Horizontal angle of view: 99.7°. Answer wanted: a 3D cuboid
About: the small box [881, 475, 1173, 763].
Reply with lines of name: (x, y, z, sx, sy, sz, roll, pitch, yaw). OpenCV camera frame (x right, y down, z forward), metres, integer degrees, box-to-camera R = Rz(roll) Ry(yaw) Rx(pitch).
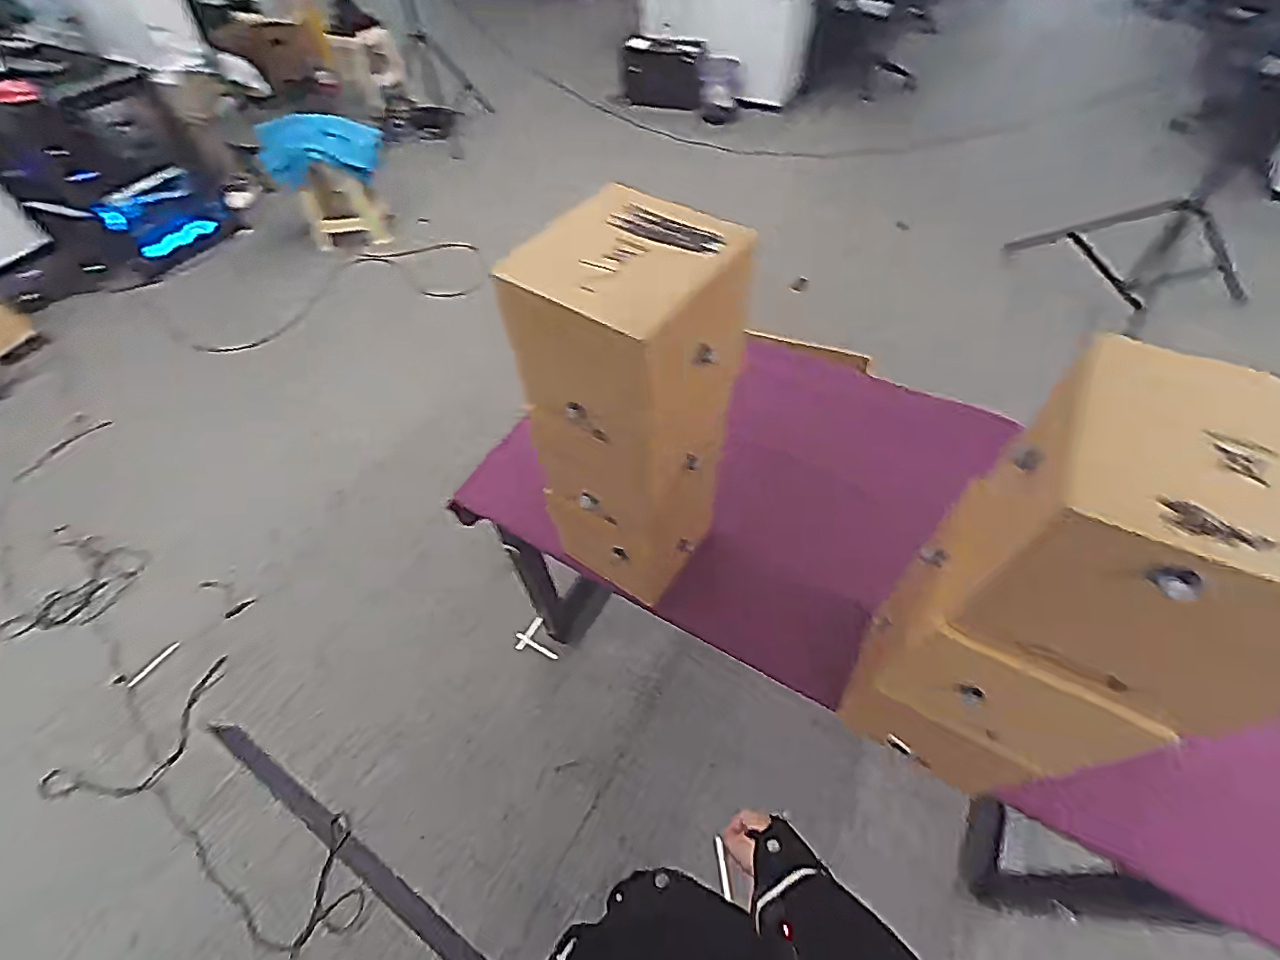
small box: (0.346, 0.133, 0.506, 0.168, 0.176, 0.179, 23, 58, 20)

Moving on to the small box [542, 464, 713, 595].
small box: (-0.012, 0.044, 0.790, 0.179, 0.176, 0.168, 28, 60, 22)

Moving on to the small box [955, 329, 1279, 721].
small box: (0.350, 0.031, 0.377, 0.168, 0.176, 0.179, 23, 57, 21)

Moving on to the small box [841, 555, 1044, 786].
small box: (0.356, 0.227, 0.639, 0.168, 0.176, 0.179, 24, 60, 21)

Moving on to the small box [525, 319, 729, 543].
small box: (-0.011, -0.057, 0.661, 0.168, 0.176, 0.179, 27, 61, 21)
